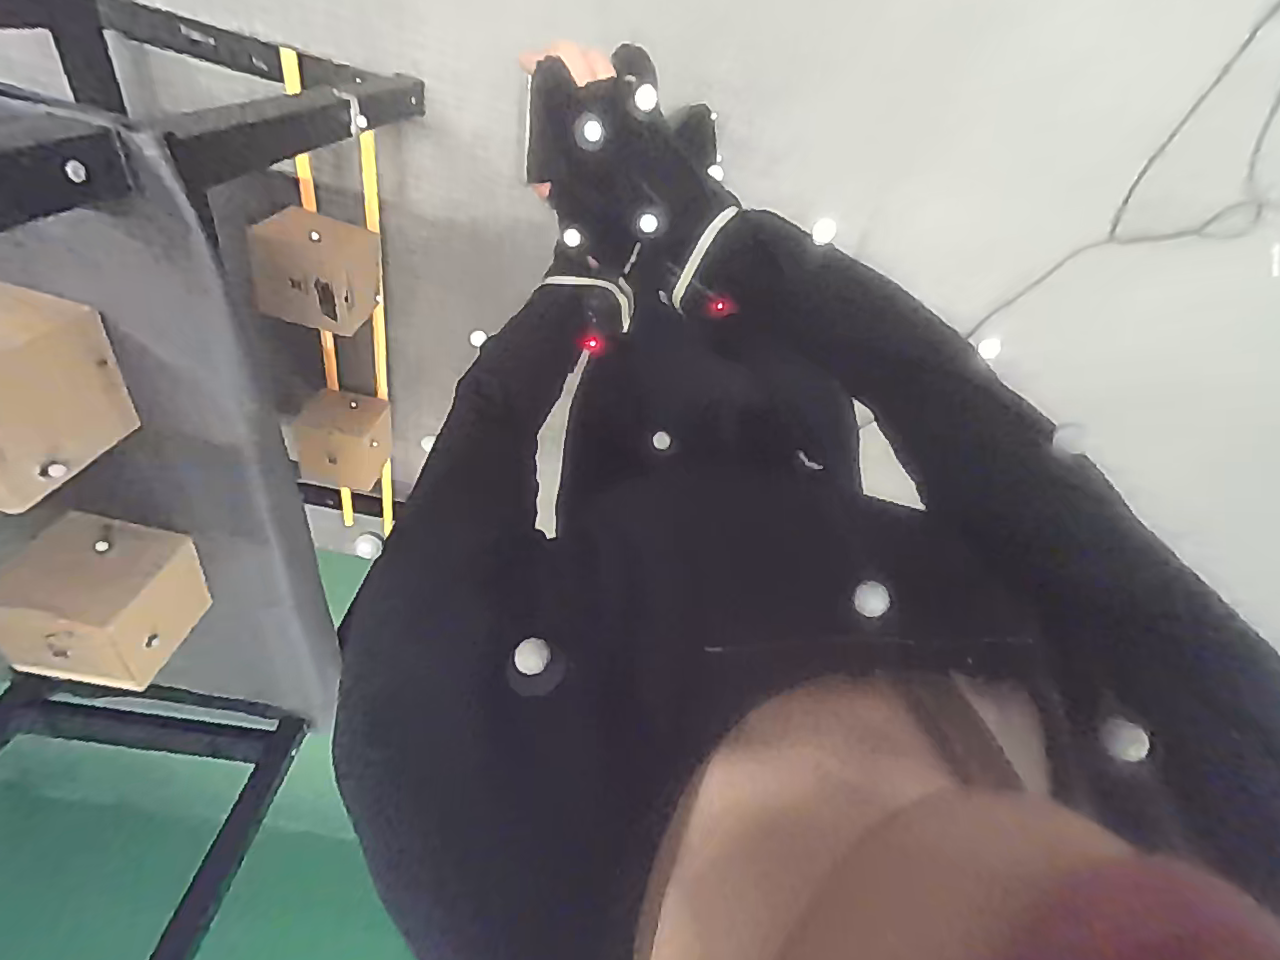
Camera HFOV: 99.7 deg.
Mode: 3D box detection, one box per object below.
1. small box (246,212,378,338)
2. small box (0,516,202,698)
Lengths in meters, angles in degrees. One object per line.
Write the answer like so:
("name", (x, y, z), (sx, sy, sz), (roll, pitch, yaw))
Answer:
("small box", (-0.645, -0.417, 1.089), (0.179, 0.176, 0.168), (15, 128, -10))
("small box", (-0.784, 0.183, 0.783), (0.168, 0.176, 0.179), (15, 129, -10))
